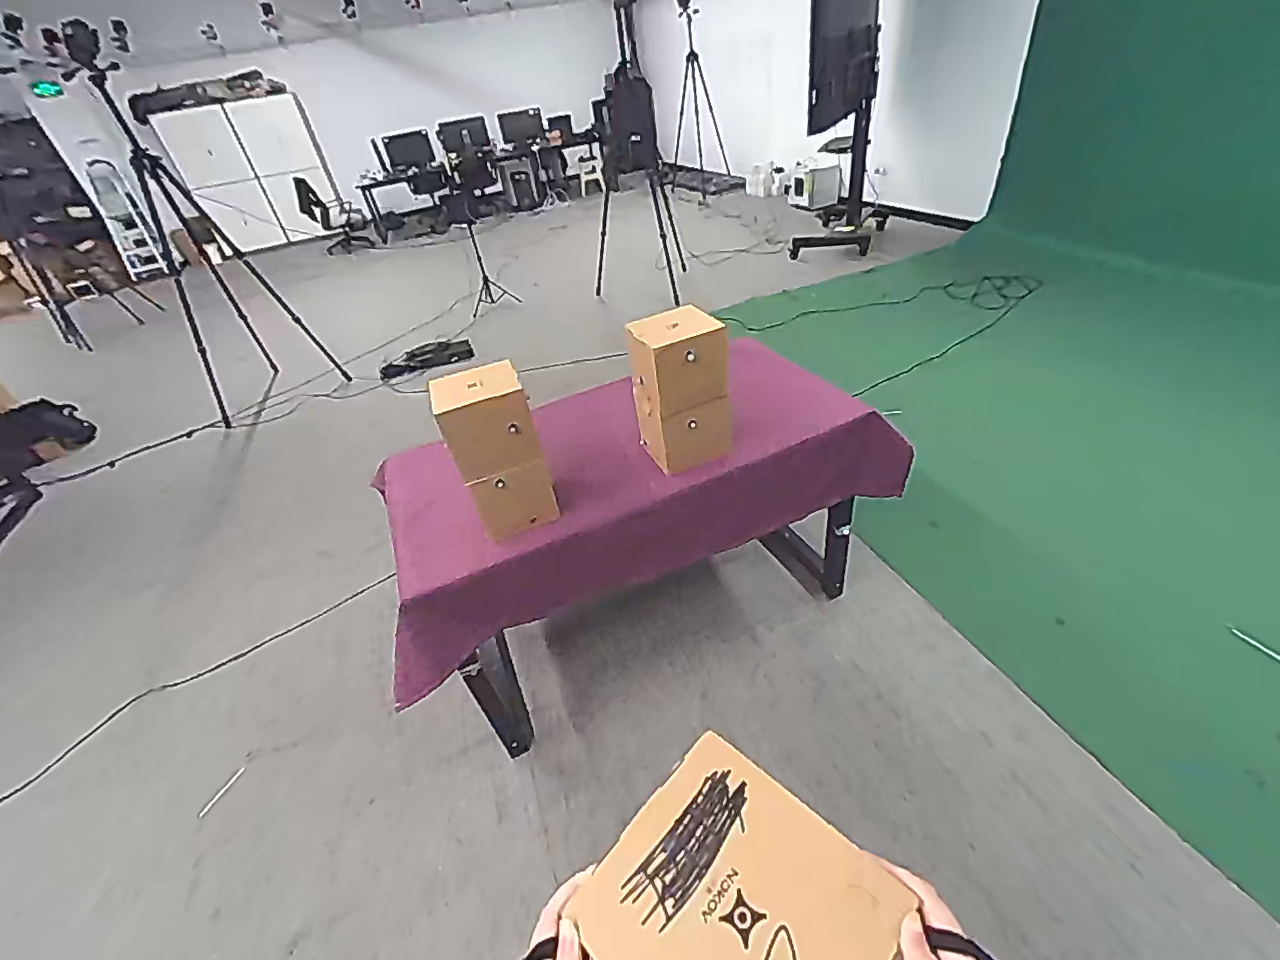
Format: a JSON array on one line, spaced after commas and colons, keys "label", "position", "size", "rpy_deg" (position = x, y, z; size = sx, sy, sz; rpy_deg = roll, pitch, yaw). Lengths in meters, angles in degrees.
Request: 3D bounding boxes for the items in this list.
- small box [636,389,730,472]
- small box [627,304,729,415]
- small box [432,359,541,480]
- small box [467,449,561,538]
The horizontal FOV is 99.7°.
[{"label": "small box", "position": [0.108, -0.144, 1.323], "size": [0.179, 0.176, 0.168], "rpy_deg": [-20, 39, -13]}, {"label": "small box", "position": [0.088, -0.272, 1.225], "size": [0.179, 0.176, 0.168], "rpy_deg": [-21, 39, -13]}, {"label": "small box", "position": [-0.316, -0.127, 1.131], "size": [0.179, 0.176, 0.168], "rpy_deg": [-19, 38, -11]}, {"label": "small box", "position": [-0.293, 0.002, 1.230], "size": [0.168, 0.176, 0.179], "rpy_deg": [-20, 38, -12]}]
